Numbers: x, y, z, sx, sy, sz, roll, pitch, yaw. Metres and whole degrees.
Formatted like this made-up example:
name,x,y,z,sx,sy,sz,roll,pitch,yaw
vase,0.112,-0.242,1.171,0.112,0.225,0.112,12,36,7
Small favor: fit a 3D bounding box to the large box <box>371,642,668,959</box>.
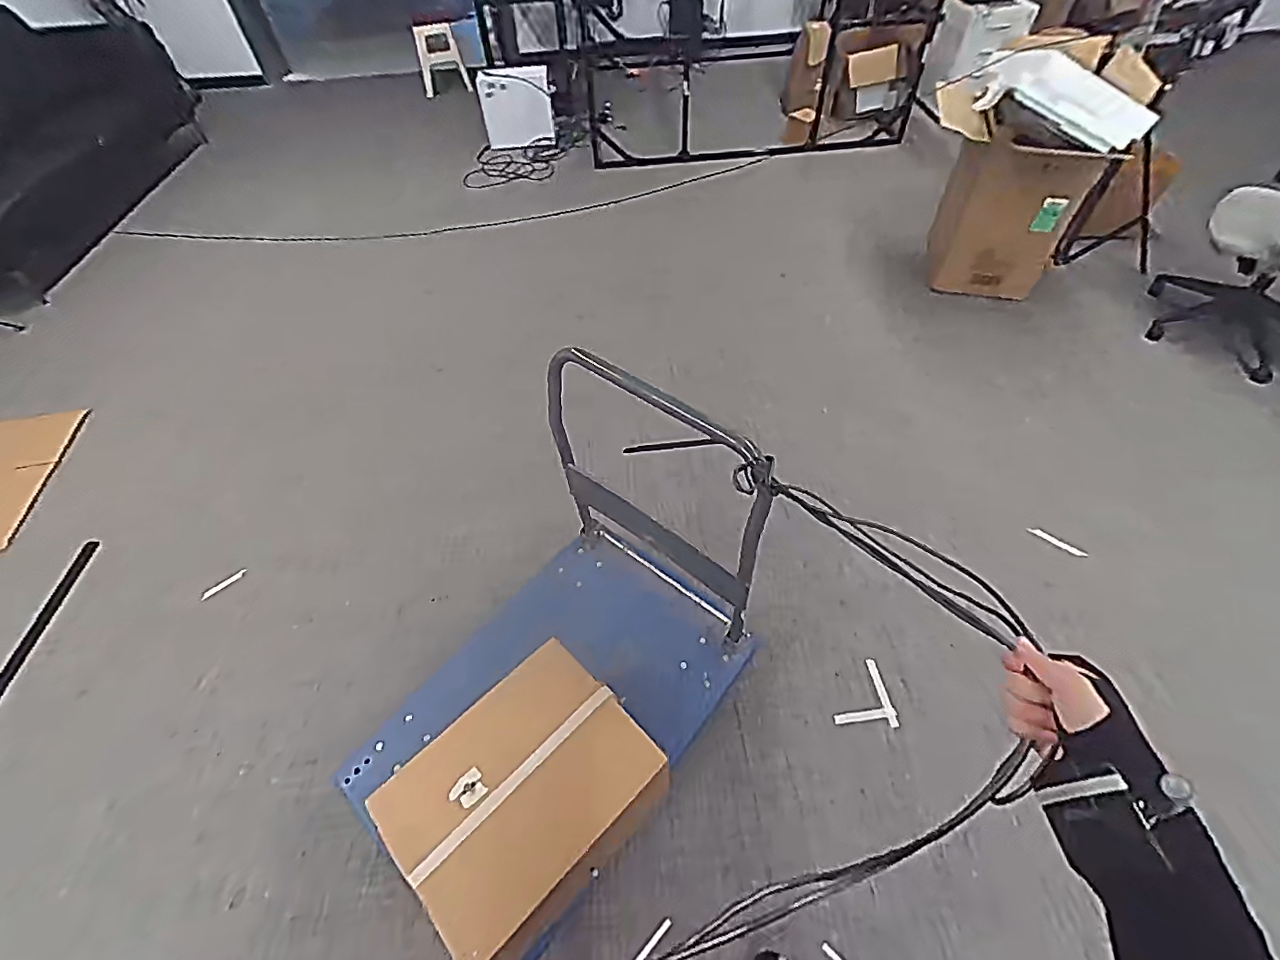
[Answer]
name,x,y,z,sx,sy,sz,roll,pitch,yaw
large box,-0.190,0.596,1.011,0.408,0.320,0.320,-39,58,-24
